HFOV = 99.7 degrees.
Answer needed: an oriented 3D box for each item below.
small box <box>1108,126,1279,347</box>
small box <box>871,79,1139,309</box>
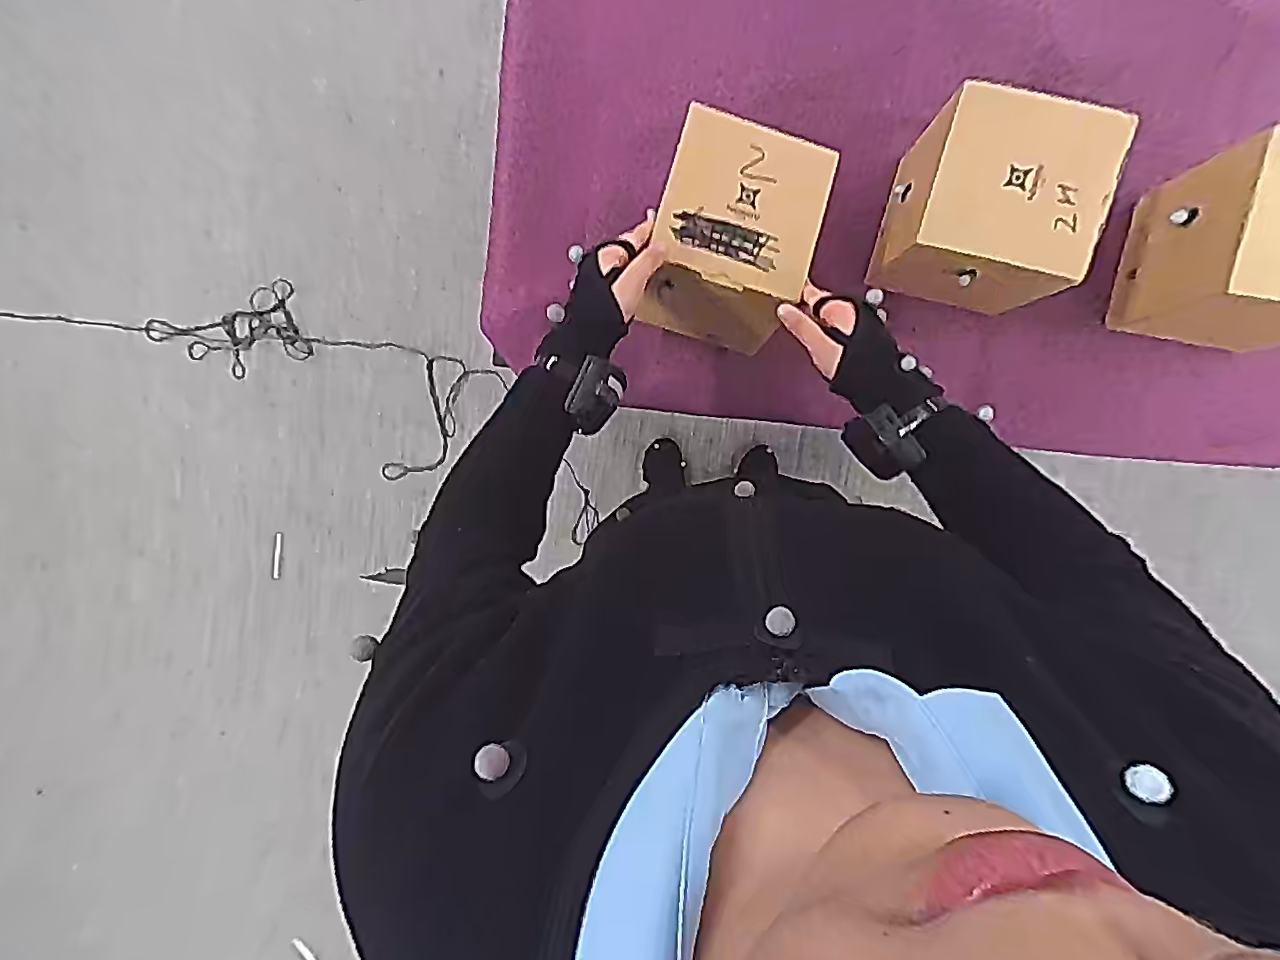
[{"bbox_3d":[0.689,-0.255,0.607,0.179,0.176,0.168,11,95,3],"label":"small box"},{"bbox_3d":[0.395,-0.310,0.625,0.179,0.176,0.168,15,97,3],"label":"small box"}]
